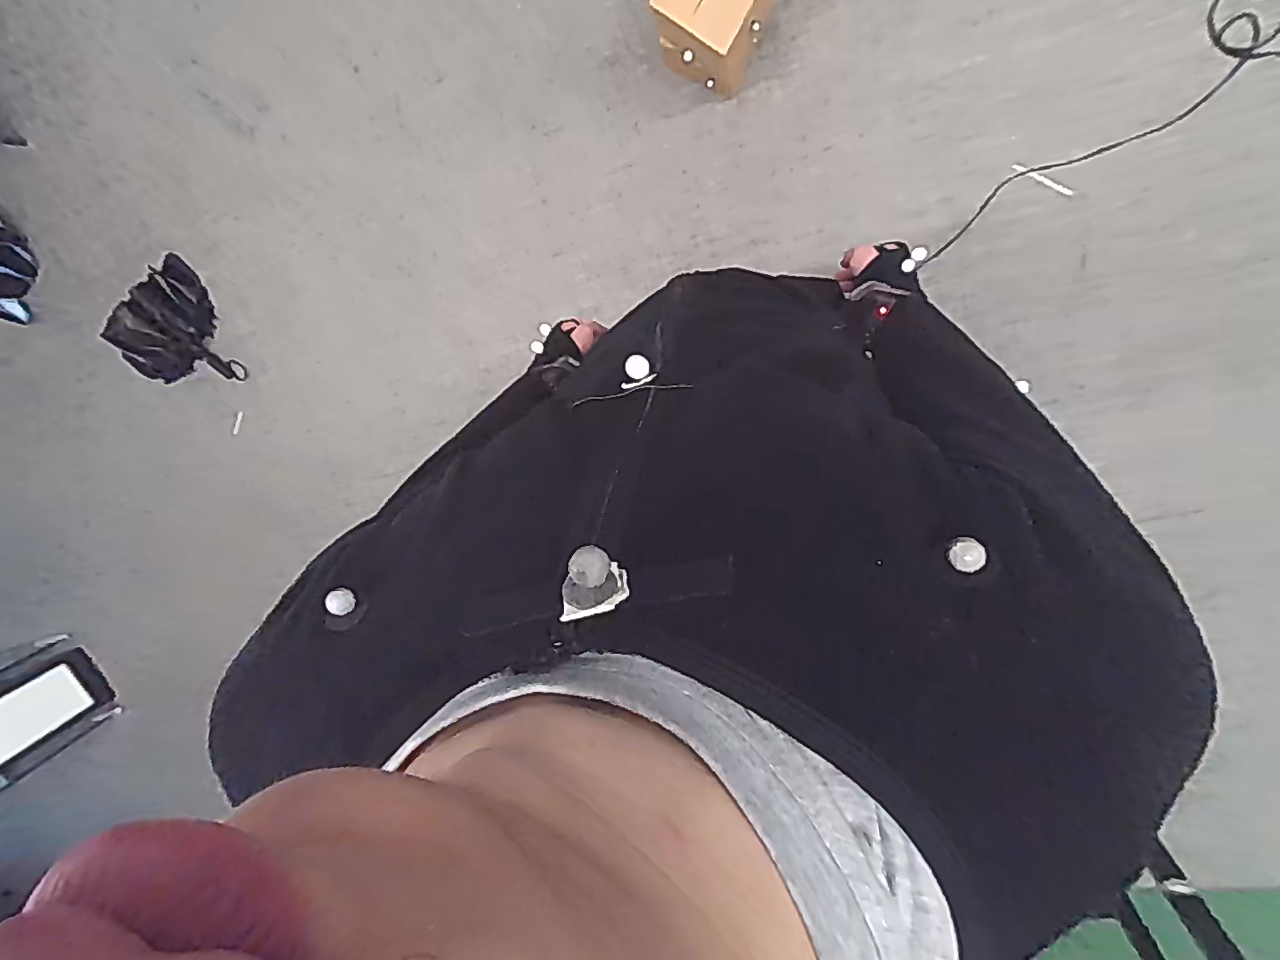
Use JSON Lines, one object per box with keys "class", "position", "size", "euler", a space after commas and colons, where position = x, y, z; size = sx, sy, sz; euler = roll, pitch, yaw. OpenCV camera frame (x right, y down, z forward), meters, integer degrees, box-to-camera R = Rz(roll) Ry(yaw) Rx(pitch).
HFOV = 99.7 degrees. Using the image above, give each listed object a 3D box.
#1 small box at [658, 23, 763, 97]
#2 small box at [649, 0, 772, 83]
{"class": "small box", "position": [0.158, -0.960, 1.151], "size": [0.168, 0.176, 0.179], "euler": [26, 113, 1]}
{"class": "small box", "position": [0.140, -0.892, 1.002], "size": [0.168, 0.176, 0.179], "euler": [33, 115, -2]}
